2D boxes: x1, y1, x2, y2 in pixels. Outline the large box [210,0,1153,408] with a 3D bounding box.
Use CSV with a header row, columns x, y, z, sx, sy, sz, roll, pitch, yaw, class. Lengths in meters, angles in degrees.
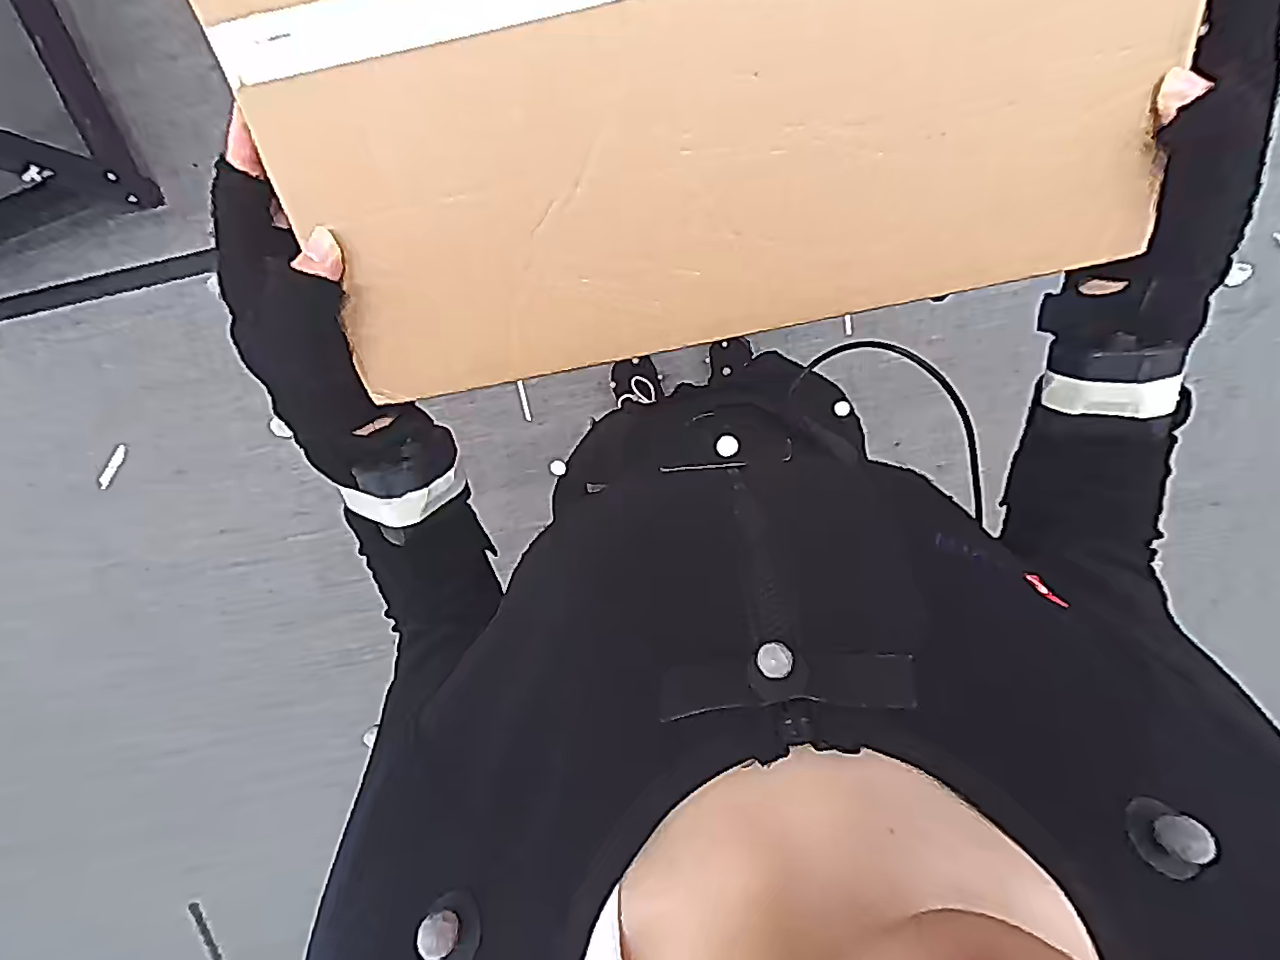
x,y,z,sx,sy,sz,roll,pitch,yaw,class
0.017,-0.281,0.357,0.408,0.320,0.320,-11,117,4,large box
